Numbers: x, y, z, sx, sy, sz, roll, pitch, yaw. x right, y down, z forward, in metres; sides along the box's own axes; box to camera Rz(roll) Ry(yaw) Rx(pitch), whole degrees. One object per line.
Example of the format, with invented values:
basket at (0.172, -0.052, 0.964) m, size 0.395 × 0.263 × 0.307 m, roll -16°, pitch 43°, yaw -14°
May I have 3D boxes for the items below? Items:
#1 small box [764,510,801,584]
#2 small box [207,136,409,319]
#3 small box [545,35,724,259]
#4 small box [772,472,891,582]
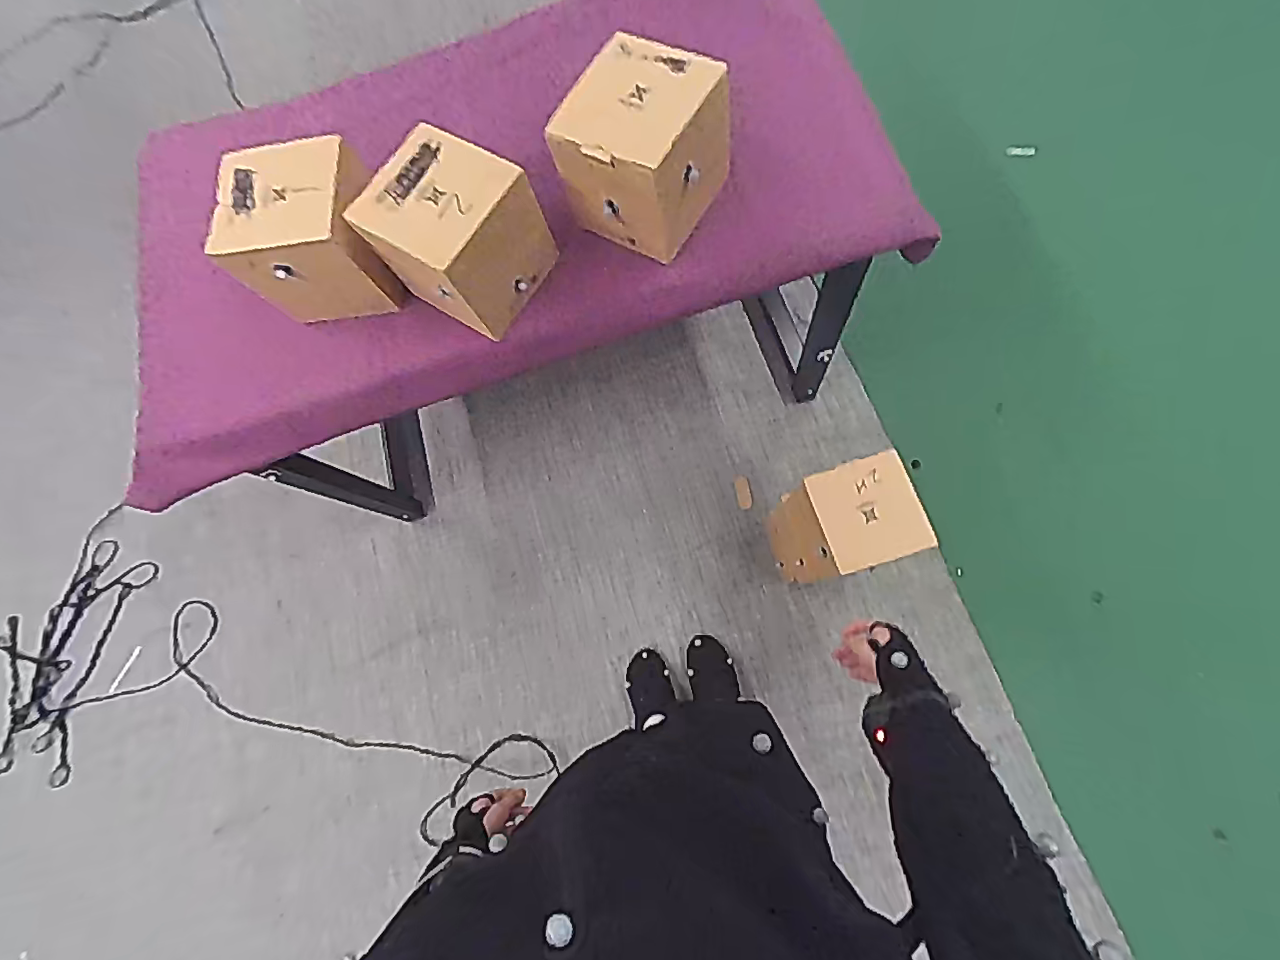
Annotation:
small box at (0.404, 0.145, 1.290) m, size 0.179 × 0.176 × 0.168 m, roll -16°, pitch 74°, yaw 3°
small box at (-0.466, -0.351, 0.783) m, size 0.179 × 0.176 × 0.168 m, roll -5°, pitch 75°, yaw 6°
small box at (0.005, -0.440, 0.738) m, size 0.168 × 0.176 × 0.179 m, roll 30°, pitch 82°, yaw 15°
small box at (0.388, 0.105, 1.134) m, size 0.168 × 0.176 × 0.179 m, roll -19°, pitch 75°, yaw 3°
